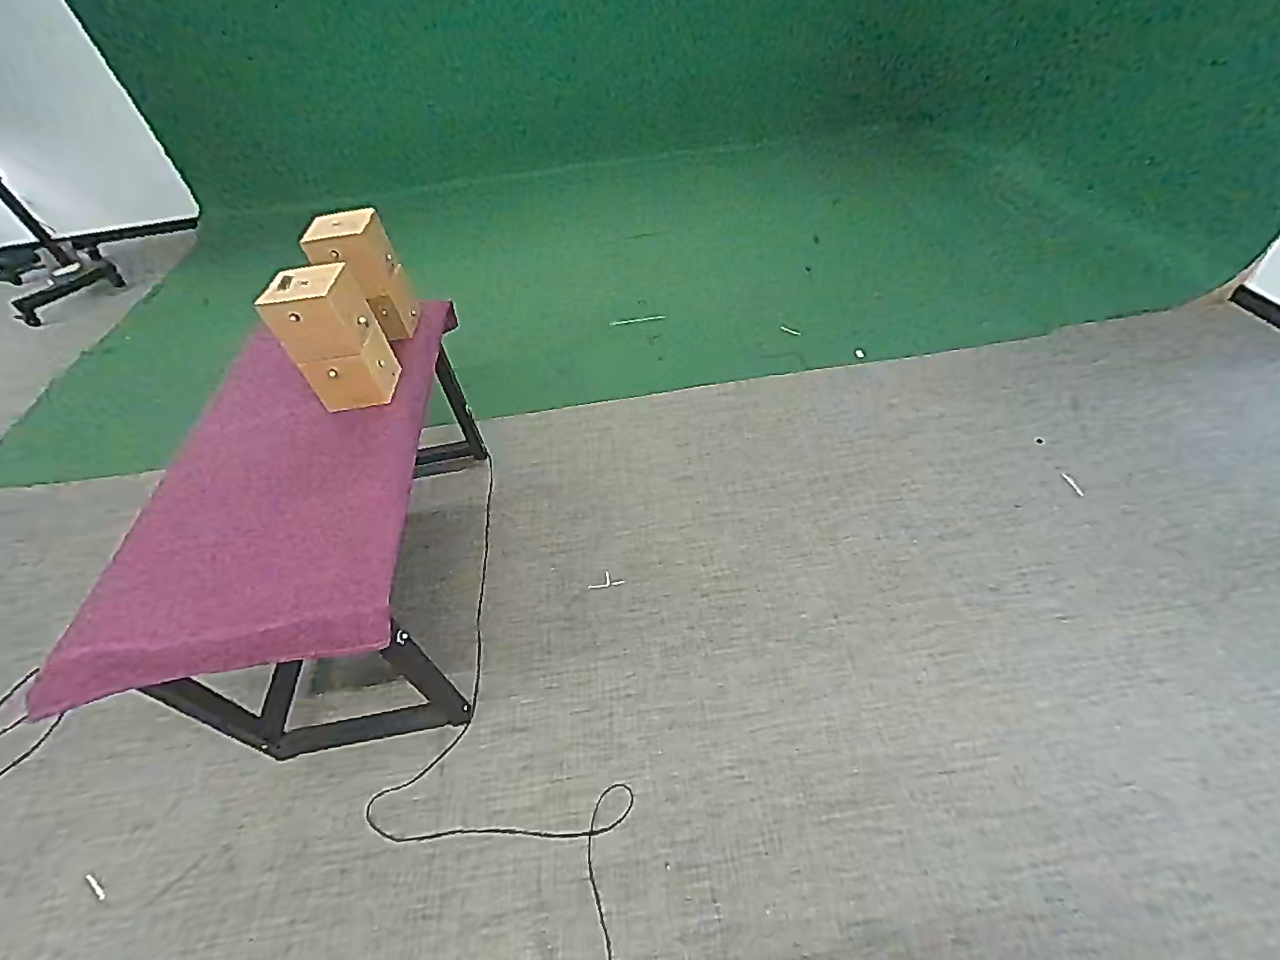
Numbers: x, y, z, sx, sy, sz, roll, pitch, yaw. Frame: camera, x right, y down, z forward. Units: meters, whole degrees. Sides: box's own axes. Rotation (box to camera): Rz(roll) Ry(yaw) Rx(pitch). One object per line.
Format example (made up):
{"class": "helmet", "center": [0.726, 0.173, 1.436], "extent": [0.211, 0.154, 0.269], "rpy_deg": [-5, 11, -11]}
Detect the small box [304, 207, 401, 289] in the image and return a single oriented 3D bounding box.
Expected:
{"class": "small box", "center": [-0.834, -0.670, 1.586], "extent": [0.179, 0.176, 0.168], "rpy_deg": [-8, 49, 0]}

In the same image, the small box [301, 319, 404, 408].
{"class": "small box", "center": [-0.782, -0.319, 1.493], "extent": [0.179, 0.176, 0.168], "rpy_deg": [-8, 48, 2]}

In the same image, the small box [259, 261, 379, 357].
{"class": "small box", "center": [-0.803, -0.428, 1.372], "extent": [0.179, 0.176, 0.168], "rpy_deg": [-7, 49, 2]}
